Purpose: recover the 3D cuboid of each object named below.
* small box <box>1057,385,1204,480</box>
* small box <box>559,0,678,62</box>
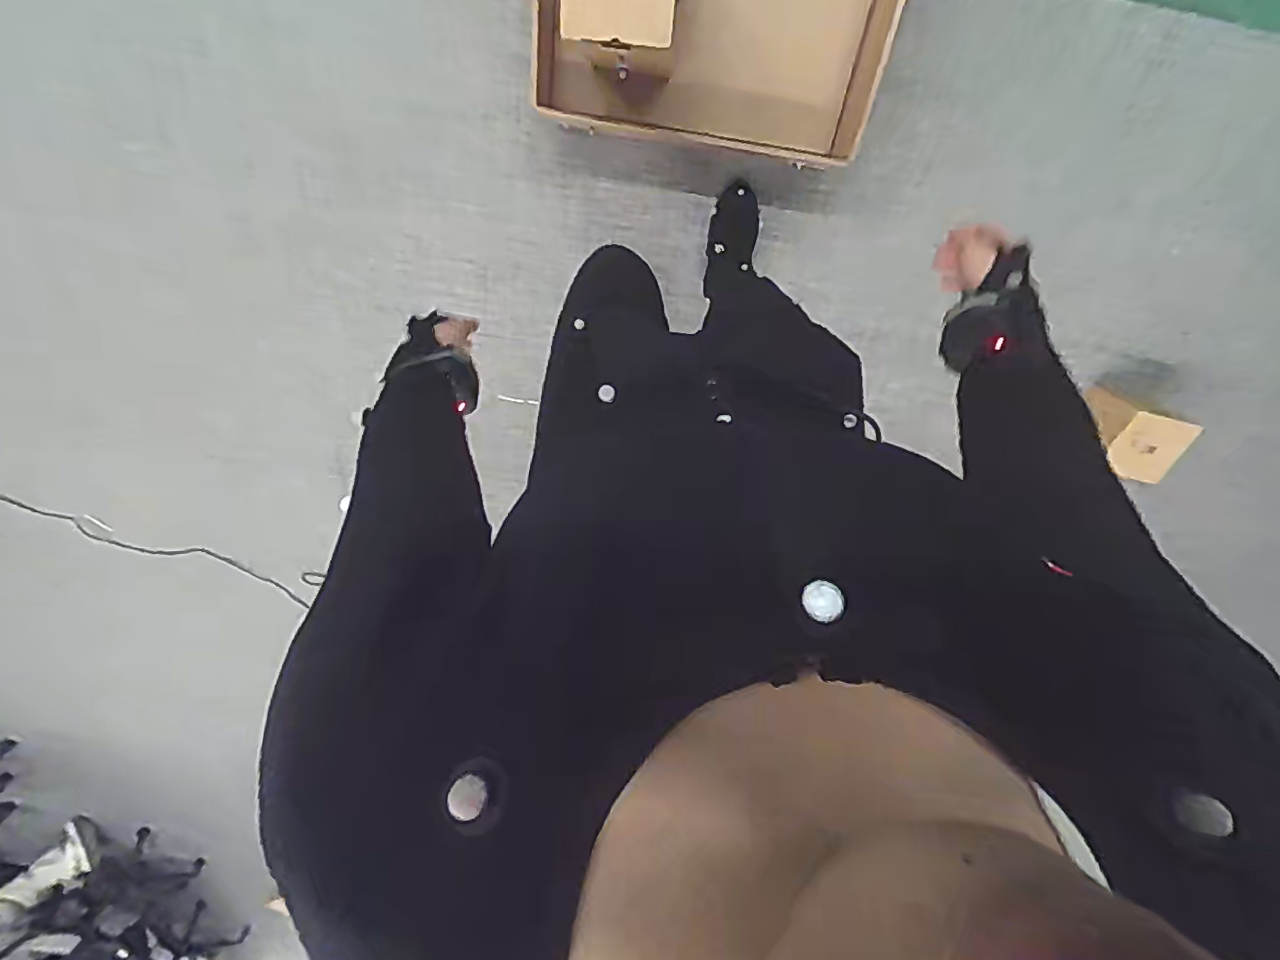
[{"bbox_3d":[1.229,-0.125,1.371,0.179,0.176,0.168,13,121,-4],"label":"small box"},{"bbox_3d":[-0.024,-0.748,0.810,0.168,0.176,0.179,6,123,0],"label":"small box"}]
